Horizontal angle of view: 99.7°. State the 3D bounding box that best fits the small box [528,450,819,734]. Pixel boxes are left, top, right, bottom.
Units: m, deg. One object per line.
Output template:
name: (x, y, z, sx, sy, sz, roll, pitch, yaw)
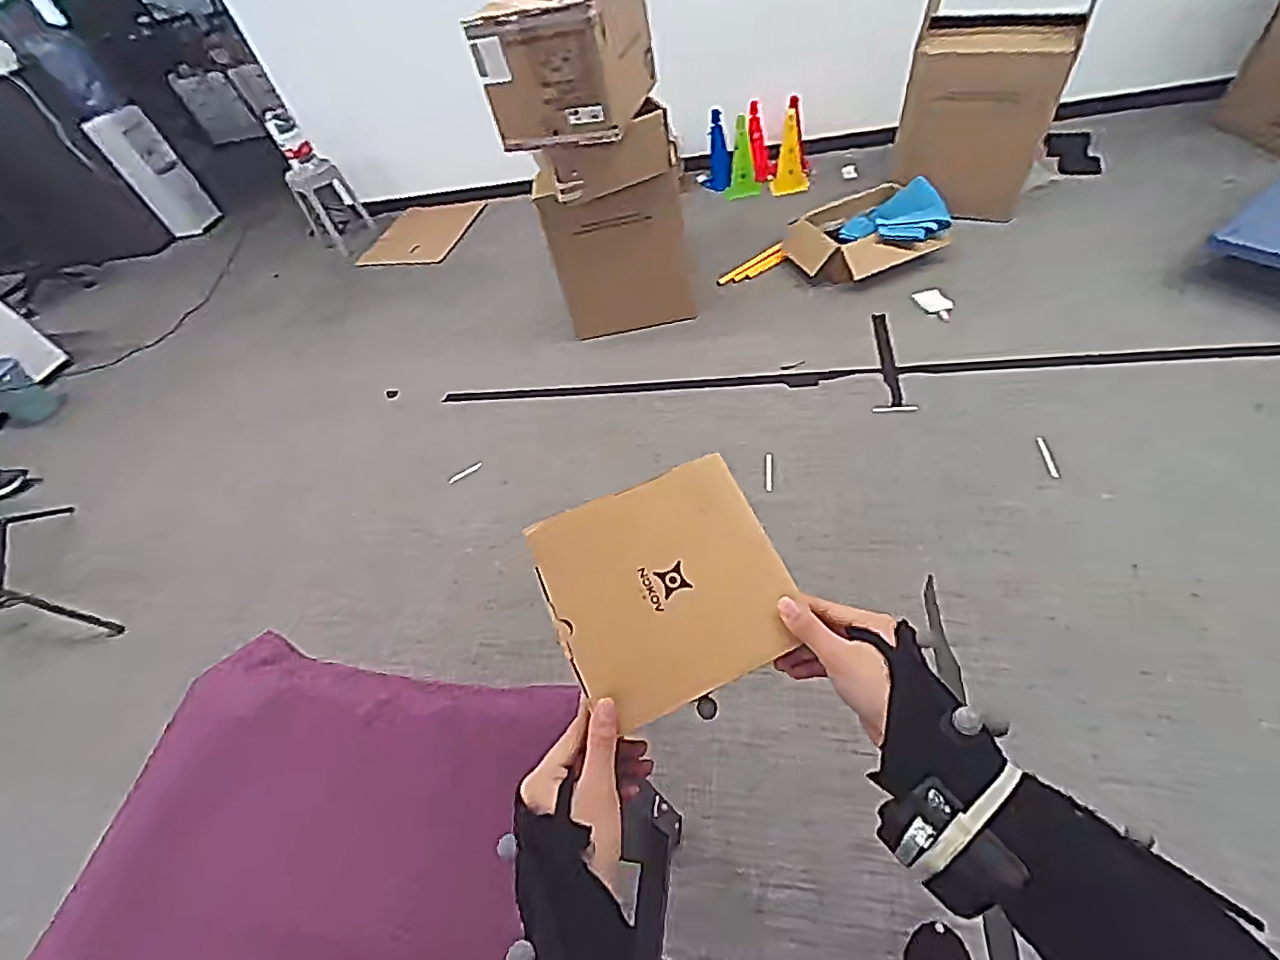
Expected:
small box: (0.021, 0.104, 0.482, 0.179, 0.176, 0.168, -23, 69, -9)
